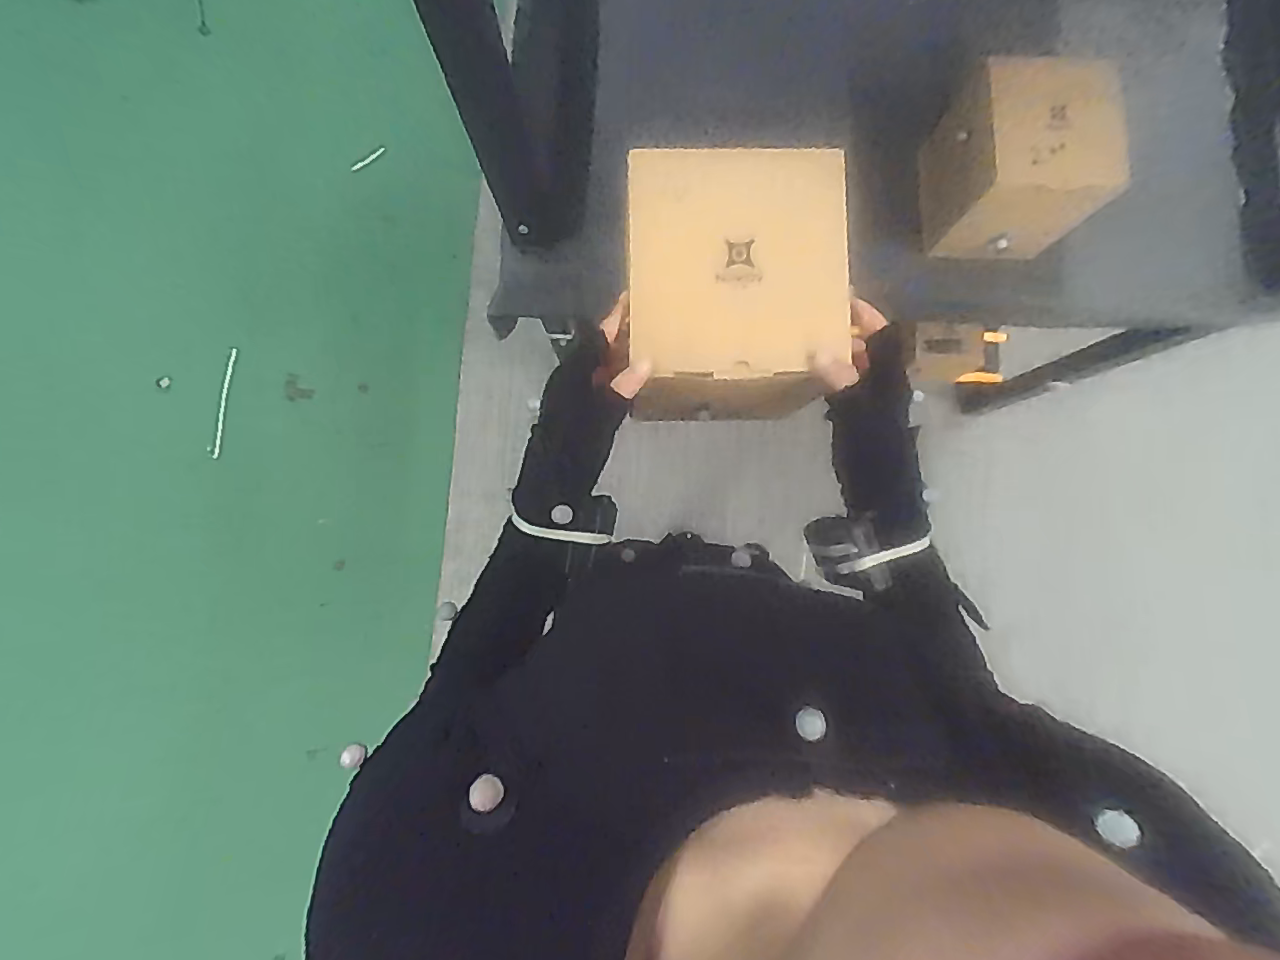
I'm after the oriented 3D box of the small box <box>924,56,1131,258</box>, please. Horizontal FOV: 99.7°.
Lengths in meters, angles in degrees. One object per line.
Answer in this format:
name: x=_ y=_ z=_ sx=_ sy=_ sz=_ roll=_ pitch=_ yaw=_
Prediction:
small box: x=0.516 y=-0.435 z=0.748 sx=0.168 sy=0.176 sz=0.179 roll=1 pitch=82 yaw=0
